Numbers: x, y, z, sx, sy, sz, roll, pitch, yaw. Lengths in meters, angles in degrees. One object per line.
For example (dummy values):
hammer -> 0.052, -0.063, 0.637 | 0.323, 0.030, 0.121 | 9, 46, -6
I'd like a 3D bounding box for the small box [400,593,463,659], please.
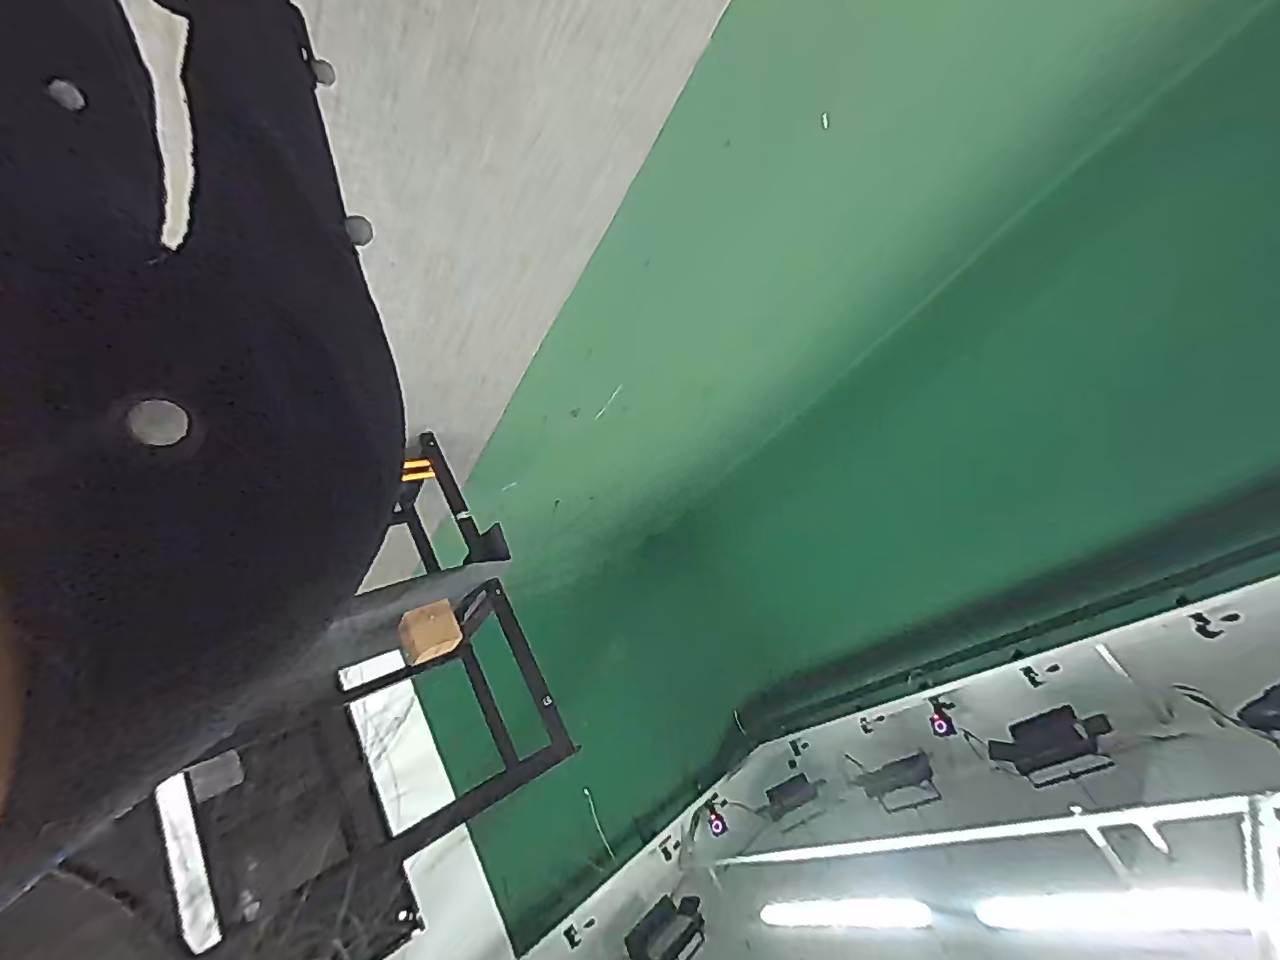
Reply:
small box -> -0.816, 0.564, 2.103 | 0.168, 0.176, 0.179 | -15, 158, -41
